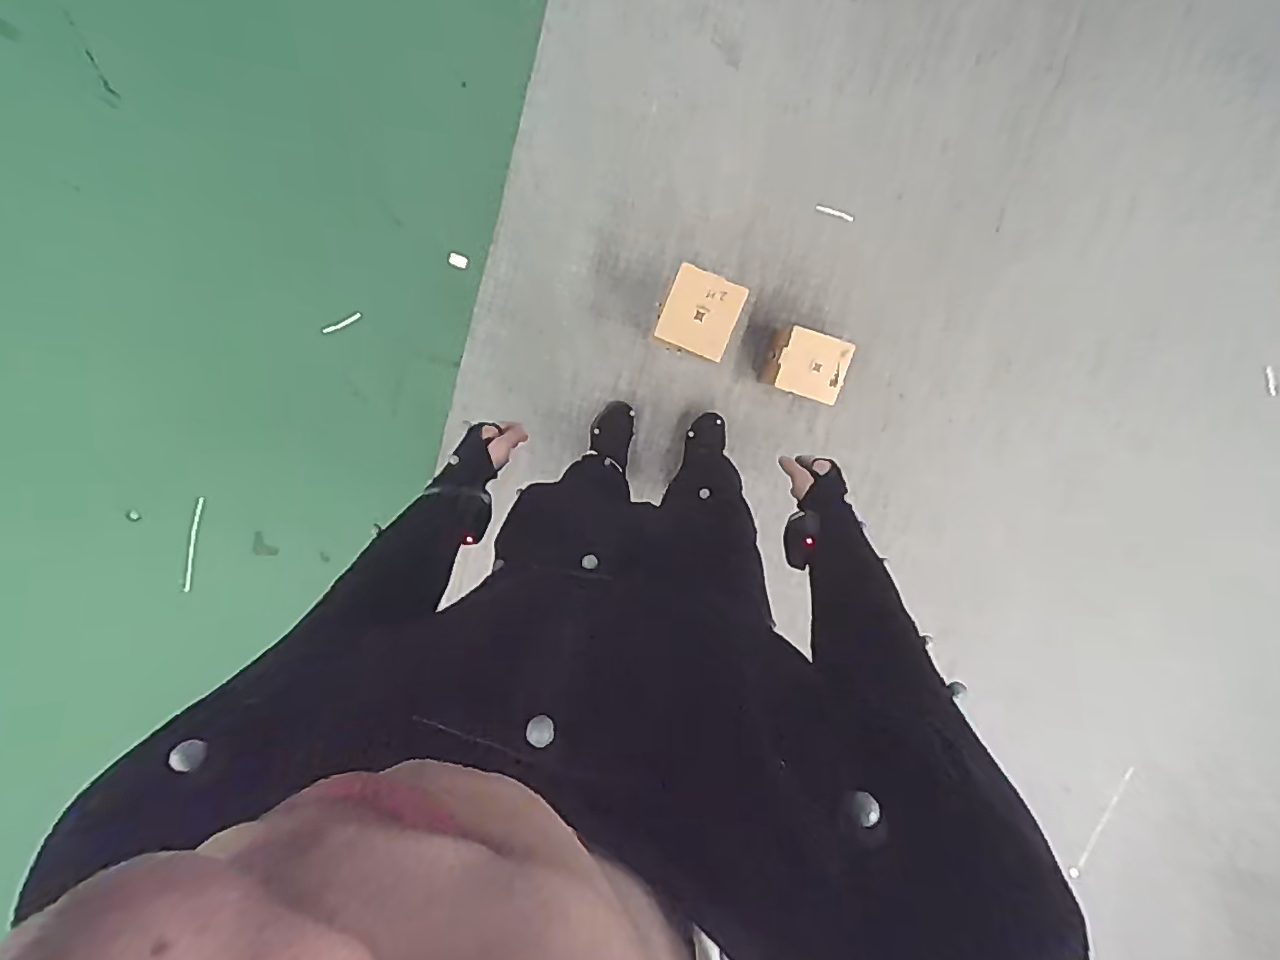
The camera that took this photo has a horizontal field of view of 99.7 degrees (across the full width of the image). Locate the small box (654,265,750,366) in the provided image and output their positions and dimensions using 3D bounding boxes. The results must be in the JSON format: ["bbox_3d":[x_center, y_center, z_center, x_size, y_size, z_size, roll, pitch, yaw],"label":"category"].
[{"bbox_3d":[0.140,-0.383,1.294,0.168,0.176,0.179,22,99,-6],"label":"small box"}]

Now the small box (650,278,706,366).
[{"bbox_3d":[0.133,-0.415,1.456,0.168,0.176,0.179,20,99,-5],"label":"small box"}]

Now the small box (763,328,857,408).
[{"bbox_3d":[0.456,-0.303,1.482,0.179,0.176,0.168,17,101,-3],"label":"small box"}]
